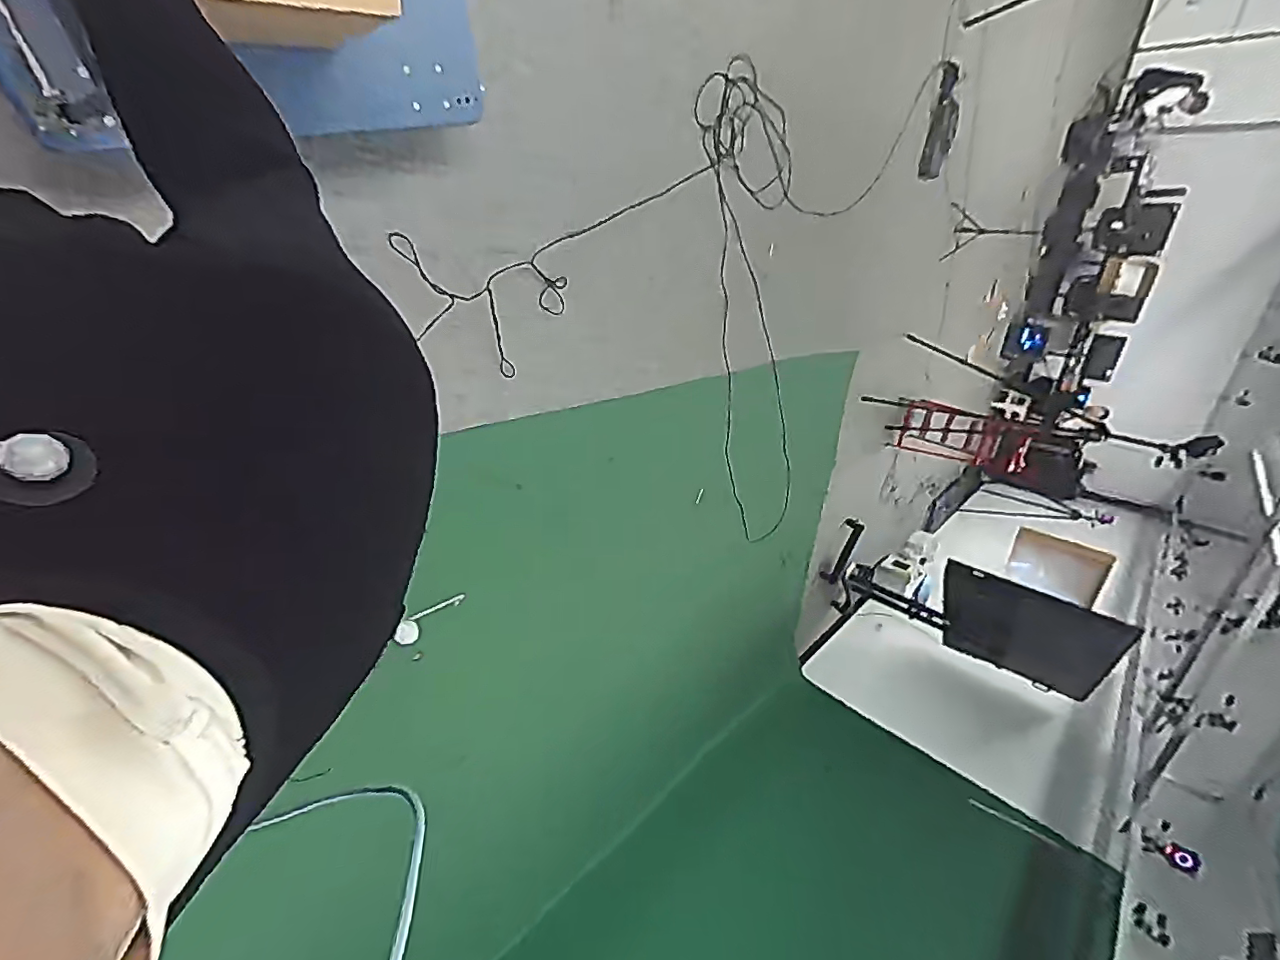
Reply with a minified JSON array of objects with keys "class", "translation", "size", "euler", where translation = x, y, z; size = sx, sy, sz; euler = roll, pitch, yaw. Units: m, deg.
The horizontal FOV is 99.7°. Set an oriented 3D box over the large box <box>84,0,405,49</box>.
[{"class":"large box","translation":[-0.665,-0.906,0.844],"size":[0.408,0.320,0.320],"euler":[-31,130,-38]}]
